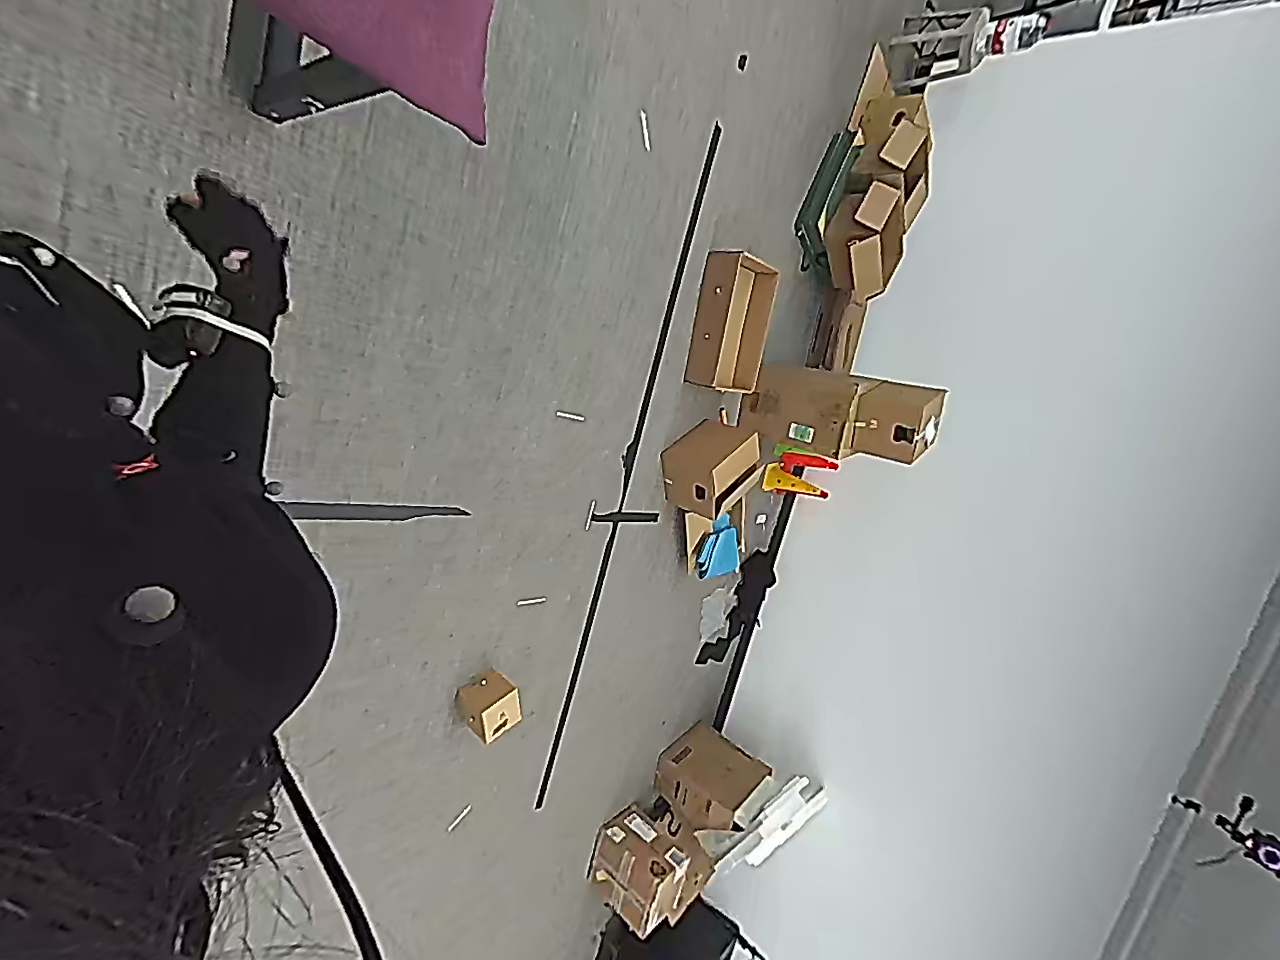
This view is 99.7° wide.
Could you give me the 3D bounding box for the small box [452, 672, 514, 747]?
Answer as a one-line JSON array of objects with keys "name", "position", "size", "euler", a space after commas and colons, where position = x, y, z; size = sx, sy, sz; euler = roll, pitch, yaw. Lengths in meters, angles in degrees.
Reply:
[{"name": "small box", "position": [-0.620, 0.901, 2.133], "size": [0.168, 0.176, 0.179], "euler": [-26, 125, -44]}]
